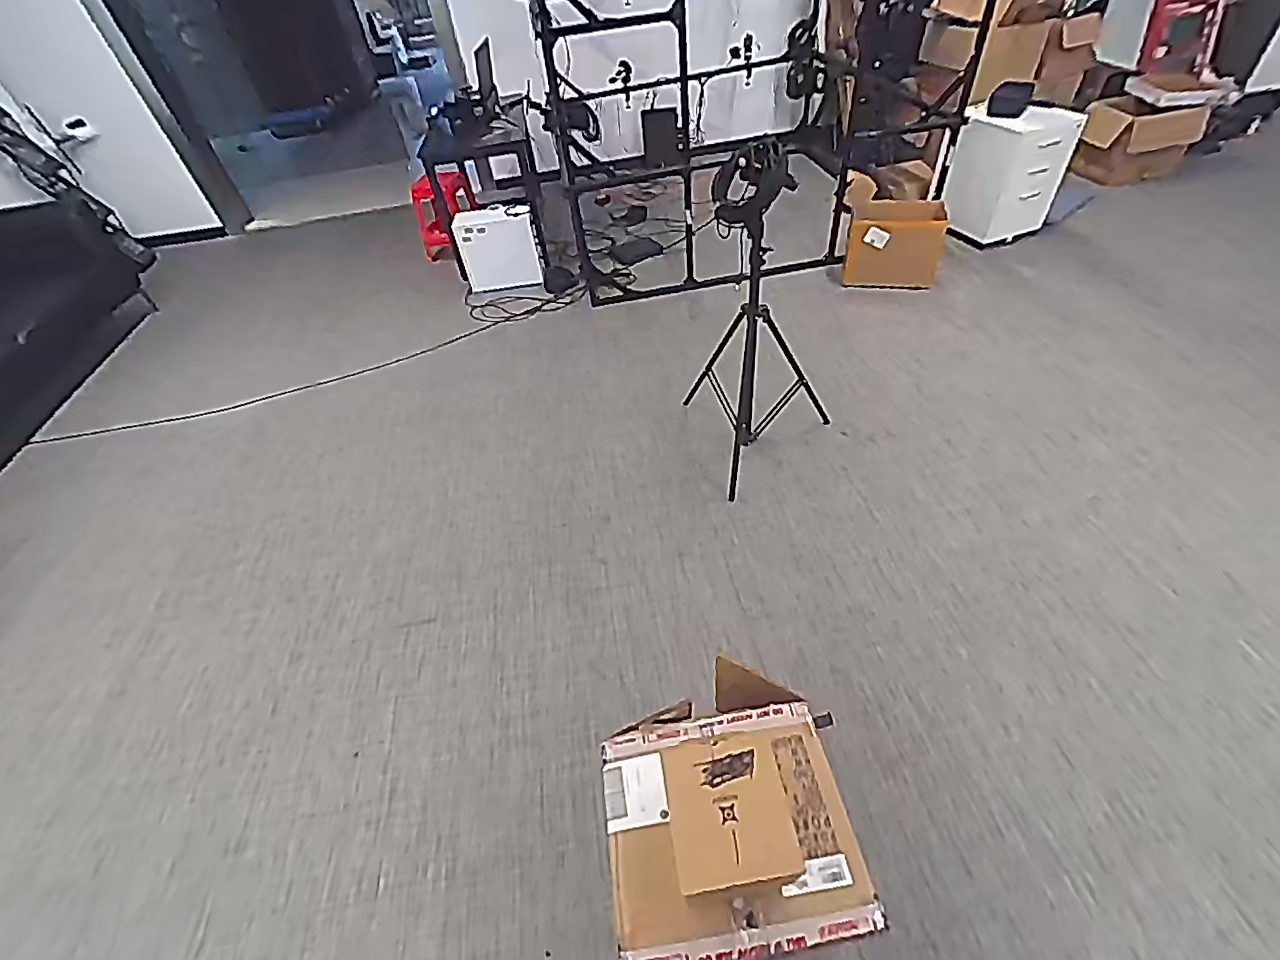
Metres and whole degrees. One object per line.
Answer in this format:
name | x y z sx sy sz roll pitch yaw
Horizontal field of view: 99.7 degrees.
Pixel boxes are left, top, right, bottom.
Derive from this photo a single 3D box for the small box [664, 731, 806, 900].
small box | 0.130 0.502 0.806 0.168 0.176 0.179 -9 49 -1
